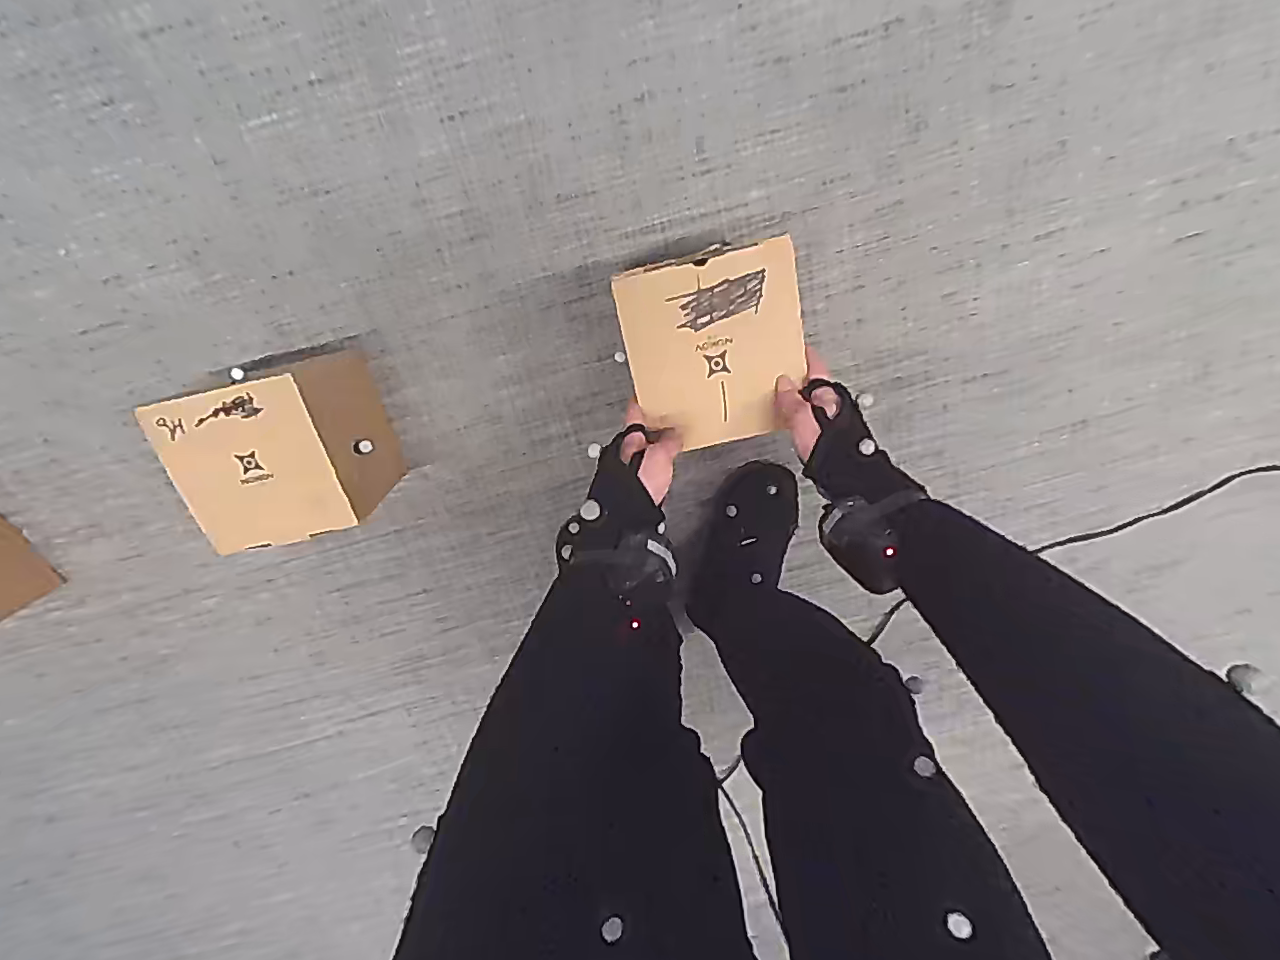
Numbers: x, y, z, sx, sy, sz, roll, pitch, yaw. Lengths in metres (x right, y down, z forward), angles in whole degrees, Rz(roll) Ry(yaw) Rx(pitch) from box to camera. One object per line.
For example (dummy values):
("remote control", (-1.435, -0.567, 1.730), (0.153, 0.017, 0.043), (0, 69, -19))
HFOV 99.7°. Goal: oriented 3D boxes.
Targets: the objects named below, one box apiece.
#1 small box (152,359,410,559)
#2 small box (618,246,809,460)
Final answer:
("small box", (-0.404, -0.033, 0.651), (0.168, 0.176, 0.179), (-12, 111, 0))
("small box", (0.071, -0.143, 0.596), (0.168, 0.176, 0.179), (-13, 111, 3))
